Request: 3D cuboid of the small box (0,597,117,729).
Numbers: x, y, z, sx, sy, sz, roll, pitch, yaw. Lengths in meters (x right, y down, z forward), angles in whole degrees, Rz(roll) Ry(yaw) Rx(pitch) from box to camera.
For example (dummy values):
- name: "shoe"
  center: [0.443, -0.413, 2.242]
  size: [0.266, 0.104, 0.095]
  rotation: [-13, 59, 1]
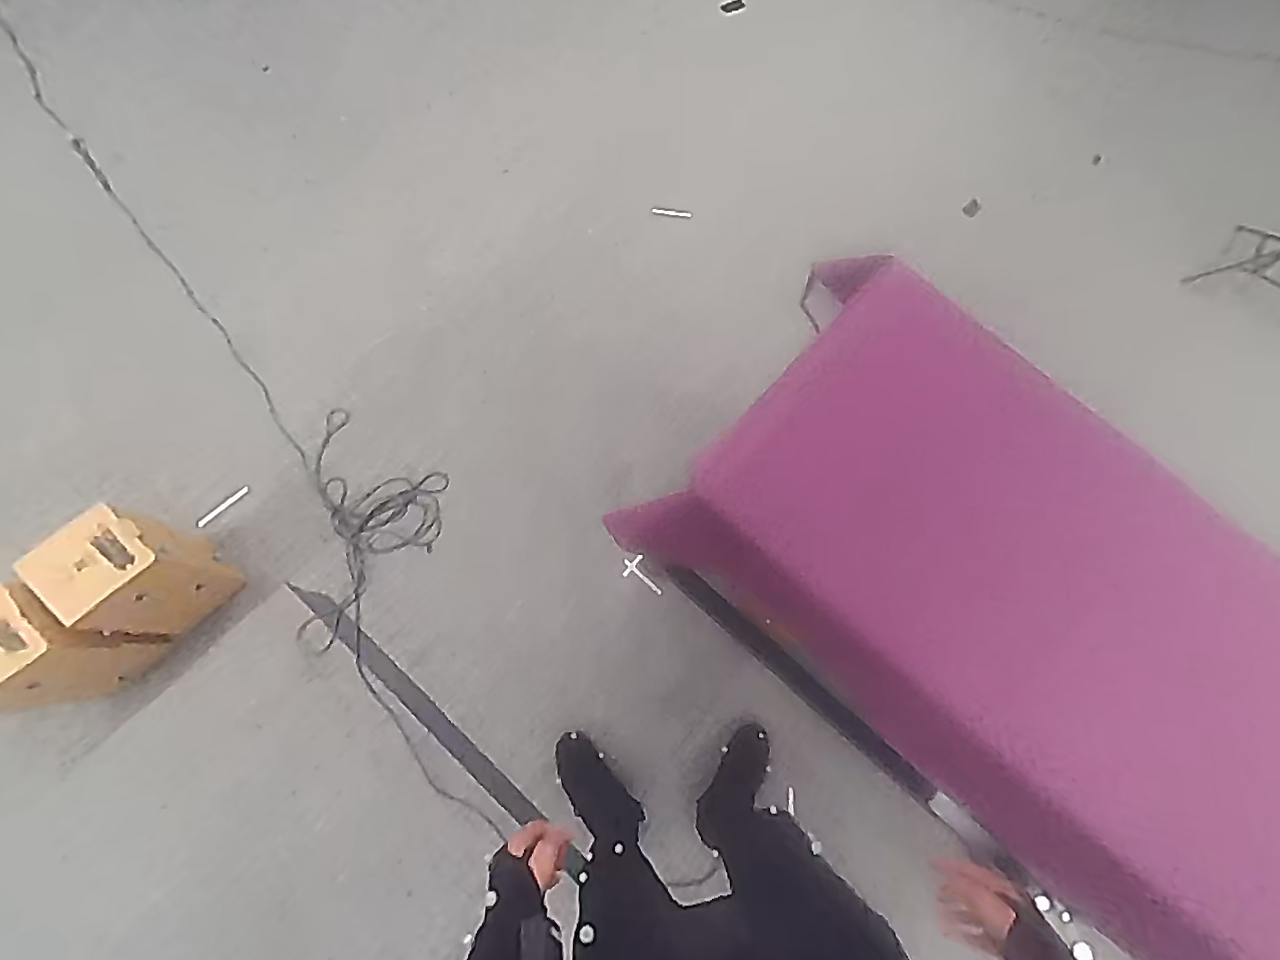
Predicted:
- name: "small box"
  center: [-1.160, 0.344, 1.021]
  size: [0.179, 0.176, 0.168]
  rotation: [-43, 82, -15]
